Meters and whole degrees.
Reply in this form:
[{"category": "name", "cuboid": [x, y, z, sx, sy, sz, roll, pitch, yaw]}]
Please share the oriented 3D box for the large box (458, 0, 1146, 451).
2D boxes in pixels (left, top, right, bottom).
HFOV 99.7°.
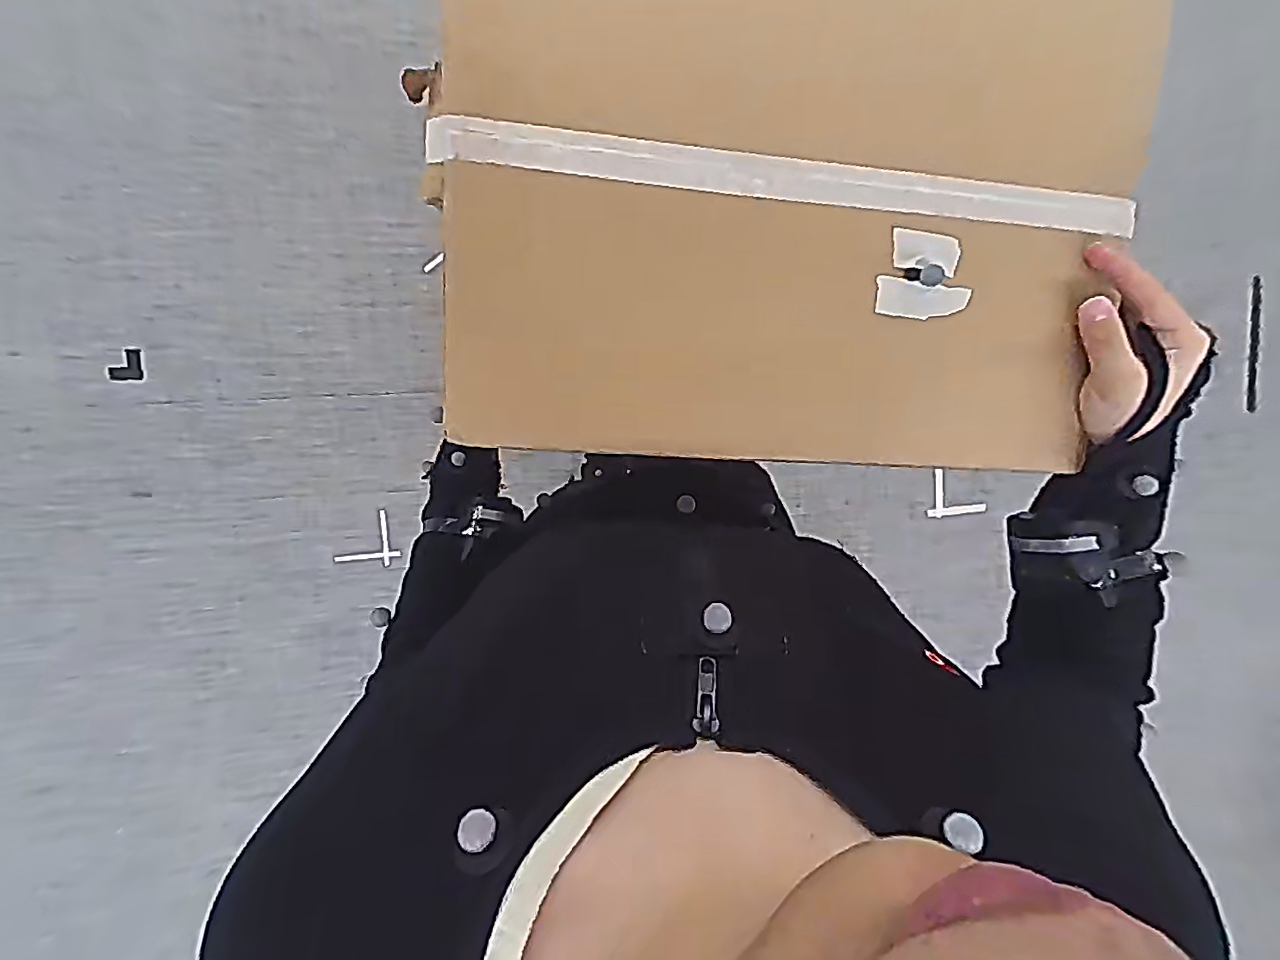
[{"category": "large box", "cuboid": [0.076, -0.199, 0.456, 0.408, 0.320, 0.320, 2, 100, -10]}]
